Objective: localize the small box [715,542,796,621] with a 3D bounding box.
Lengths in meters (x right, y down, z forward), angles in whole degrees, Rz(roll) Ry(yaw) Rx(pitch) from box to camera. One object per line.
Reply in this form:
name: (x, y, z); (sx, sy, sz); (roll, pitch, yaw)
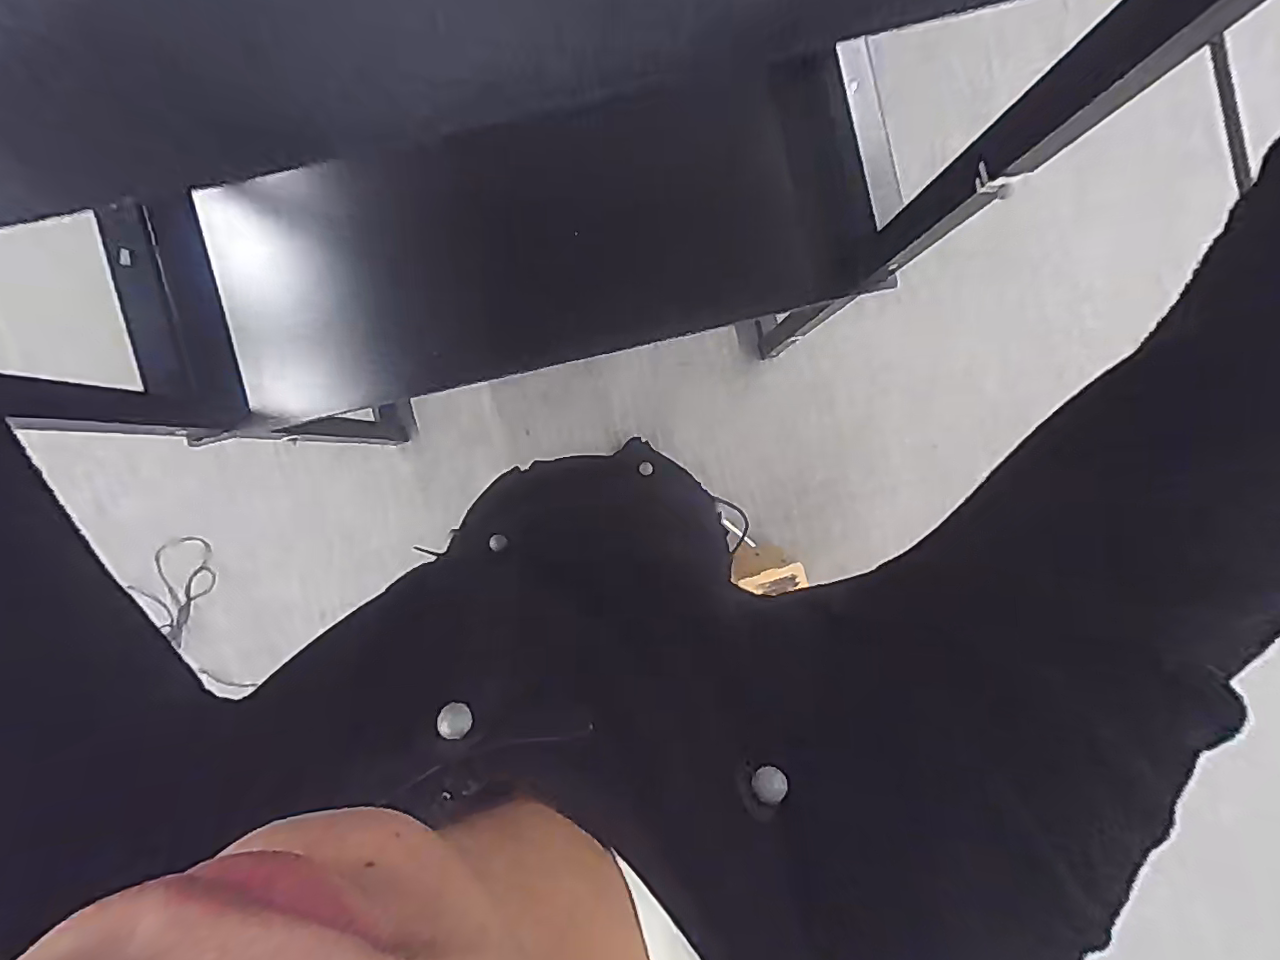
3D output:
small box: (0.329, 0.288, 1.570); (0.179, 0.176, 0.168); (-14, 93, 0)
